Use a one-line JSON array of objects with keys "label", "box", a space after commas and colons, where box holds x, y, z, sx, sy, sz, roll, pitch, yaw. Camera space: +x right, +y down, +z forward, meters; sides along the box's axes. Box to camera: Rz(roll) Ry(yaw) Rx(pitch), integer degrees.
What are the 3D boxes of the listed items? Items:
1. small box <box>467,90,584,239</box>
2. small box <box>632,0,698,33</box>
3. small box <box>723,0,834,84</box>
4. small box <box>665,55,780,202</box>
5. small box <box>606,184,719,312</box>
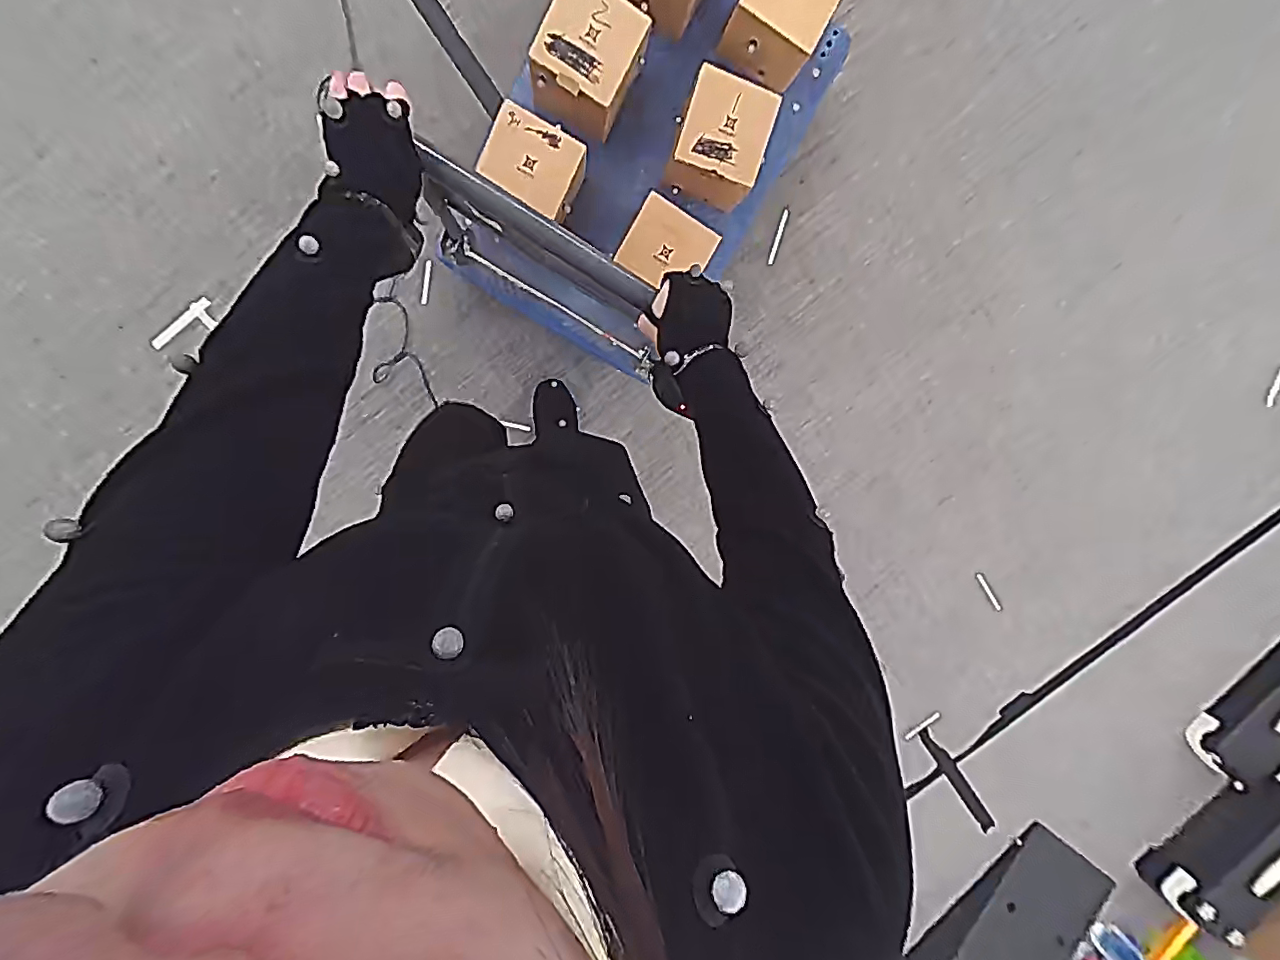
[{"label": "small box", "box": [-0.220, -0.612, 1.077, 0.168, 0.176, 0.179, 26, 98, -12]}, {"label": "small box", "box": [0.063, -1.019, 1.021, 0.168, 0.176, 0.179, 31, 98, -12]}, {"label": "small box", "box": [0.280, -0.941, 1.068, 0.168, 0.176, 0.179, 26, 98, -12]}, {"label": "small box", "box": [0.157, -0.701, 1.105, 0.168, 0.176, 0.179, 17, 99, -10]}, {"label": "small box", "box": [0.038, -0.475, 1.141, 0.168, 0.176, 0.179, 30, 96, -12]}]
